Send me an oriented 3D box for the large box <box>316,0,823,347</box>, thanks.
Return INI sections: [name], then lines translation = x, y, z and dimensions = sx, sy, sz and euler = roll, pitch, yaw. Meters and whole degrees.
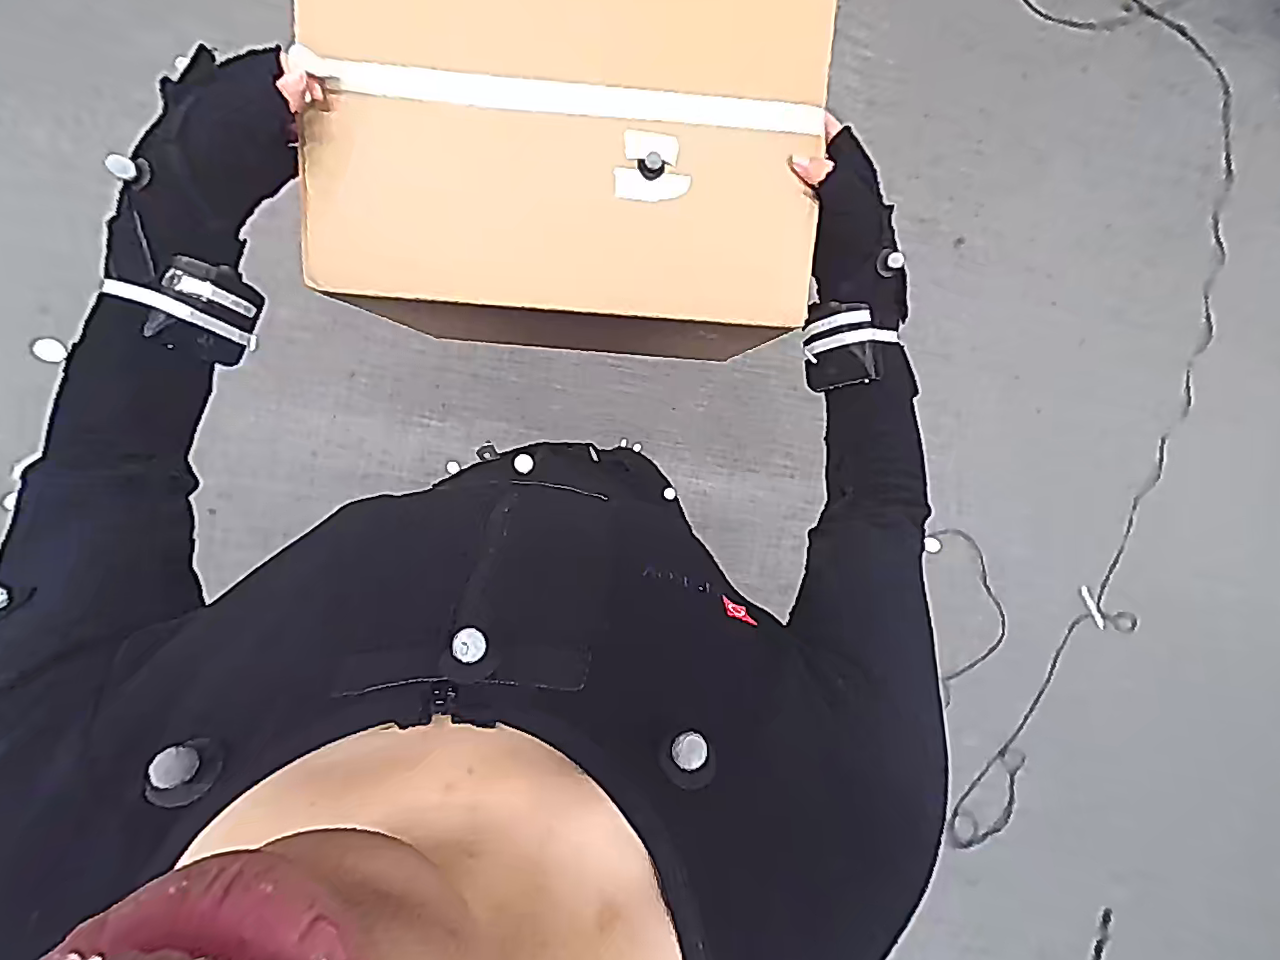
[large box]
translation = -0.064, -0.323, 0.579
dimensions = 0.408, 0.320, 0.320
euler = 3, 98, -4
